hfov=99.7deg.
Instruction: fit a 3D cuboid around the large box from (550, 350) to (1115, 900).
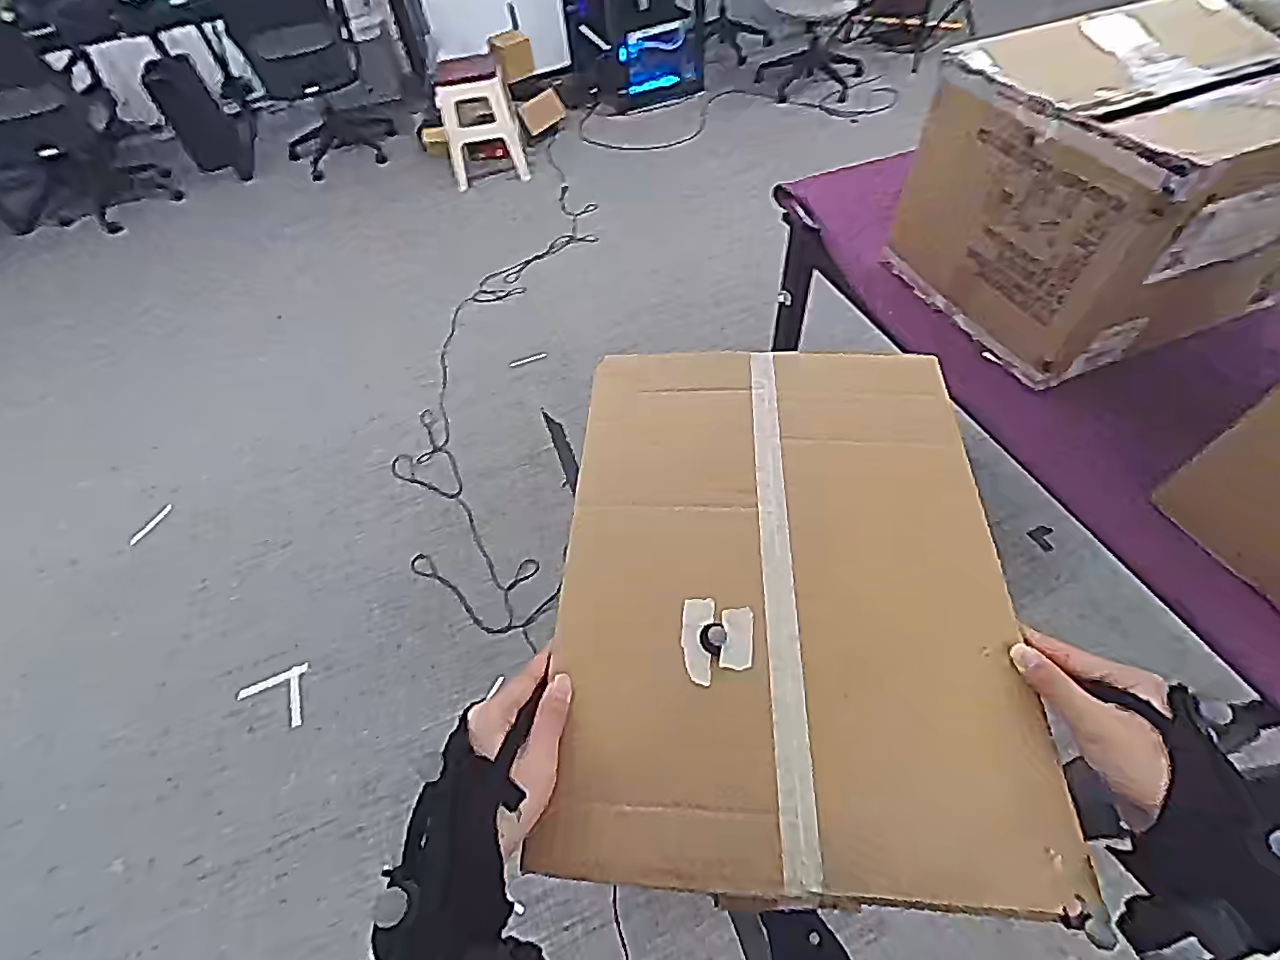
[{"bbox_3d":[0.114,0.128,0.524,0.320,0.320,0.408,0,58,5],"label":"large box"}]
